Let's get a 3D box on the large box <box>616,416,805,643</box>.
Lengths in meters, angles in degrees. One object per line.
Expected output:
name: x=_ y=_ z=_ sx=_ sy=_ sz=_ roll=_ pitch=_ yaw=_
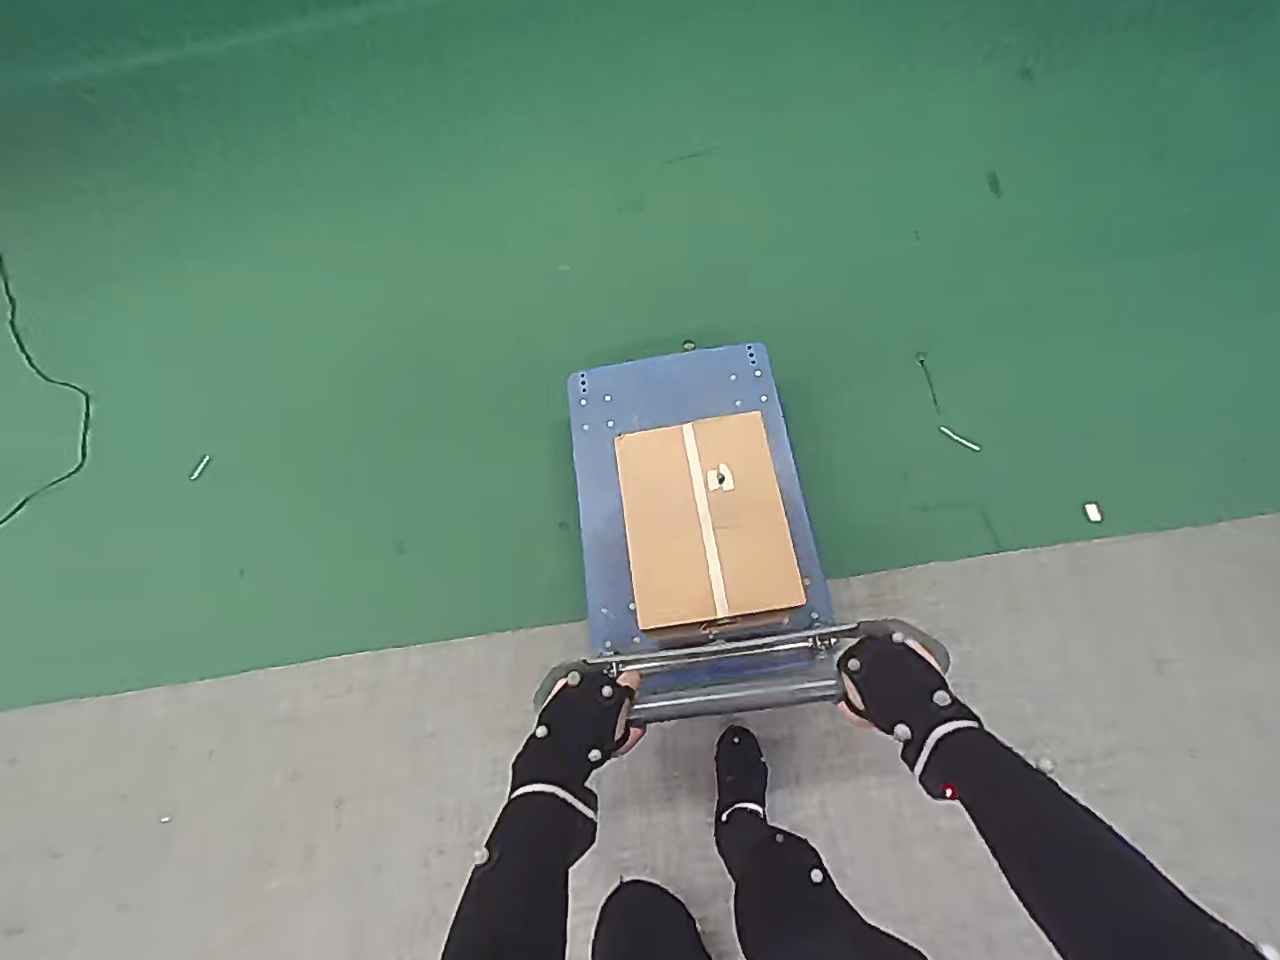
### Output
large box: x=0.144 y=0.126 z=1.203 sx=0.320 sy=0.320 sz=0.408 roll=-9 pitch=69 yaw=3
